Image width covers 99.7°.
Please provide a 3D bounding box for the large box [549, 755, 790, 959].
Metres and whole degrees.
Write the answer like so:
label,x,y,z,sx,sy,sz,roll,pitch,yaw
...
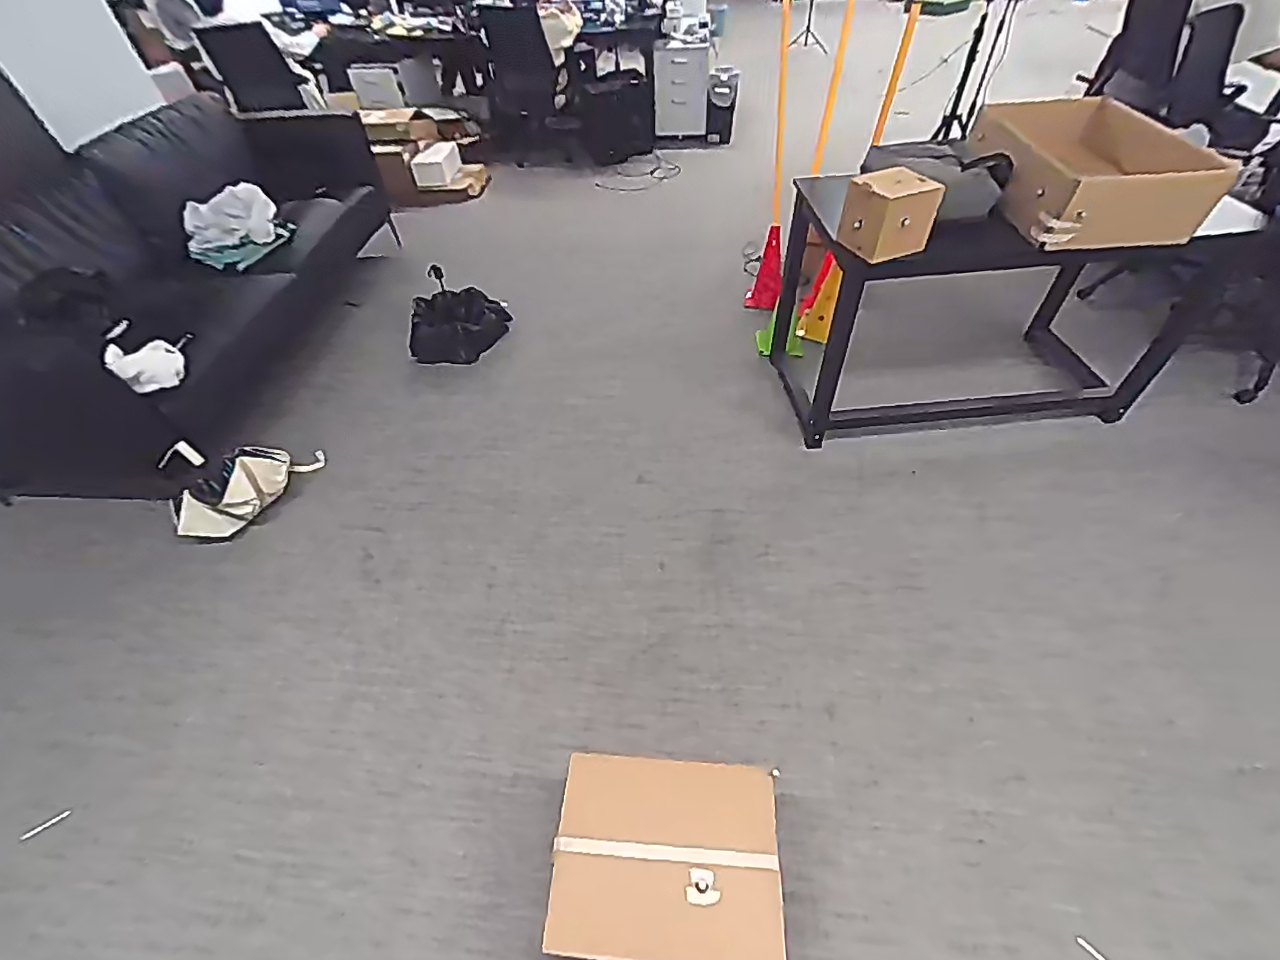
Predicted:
label,x,y,z,sx,sy,sz,roll,pitch,yaw
large box,0.061,0.776,1.090,0.408,0.320,0.320,1,49,6
